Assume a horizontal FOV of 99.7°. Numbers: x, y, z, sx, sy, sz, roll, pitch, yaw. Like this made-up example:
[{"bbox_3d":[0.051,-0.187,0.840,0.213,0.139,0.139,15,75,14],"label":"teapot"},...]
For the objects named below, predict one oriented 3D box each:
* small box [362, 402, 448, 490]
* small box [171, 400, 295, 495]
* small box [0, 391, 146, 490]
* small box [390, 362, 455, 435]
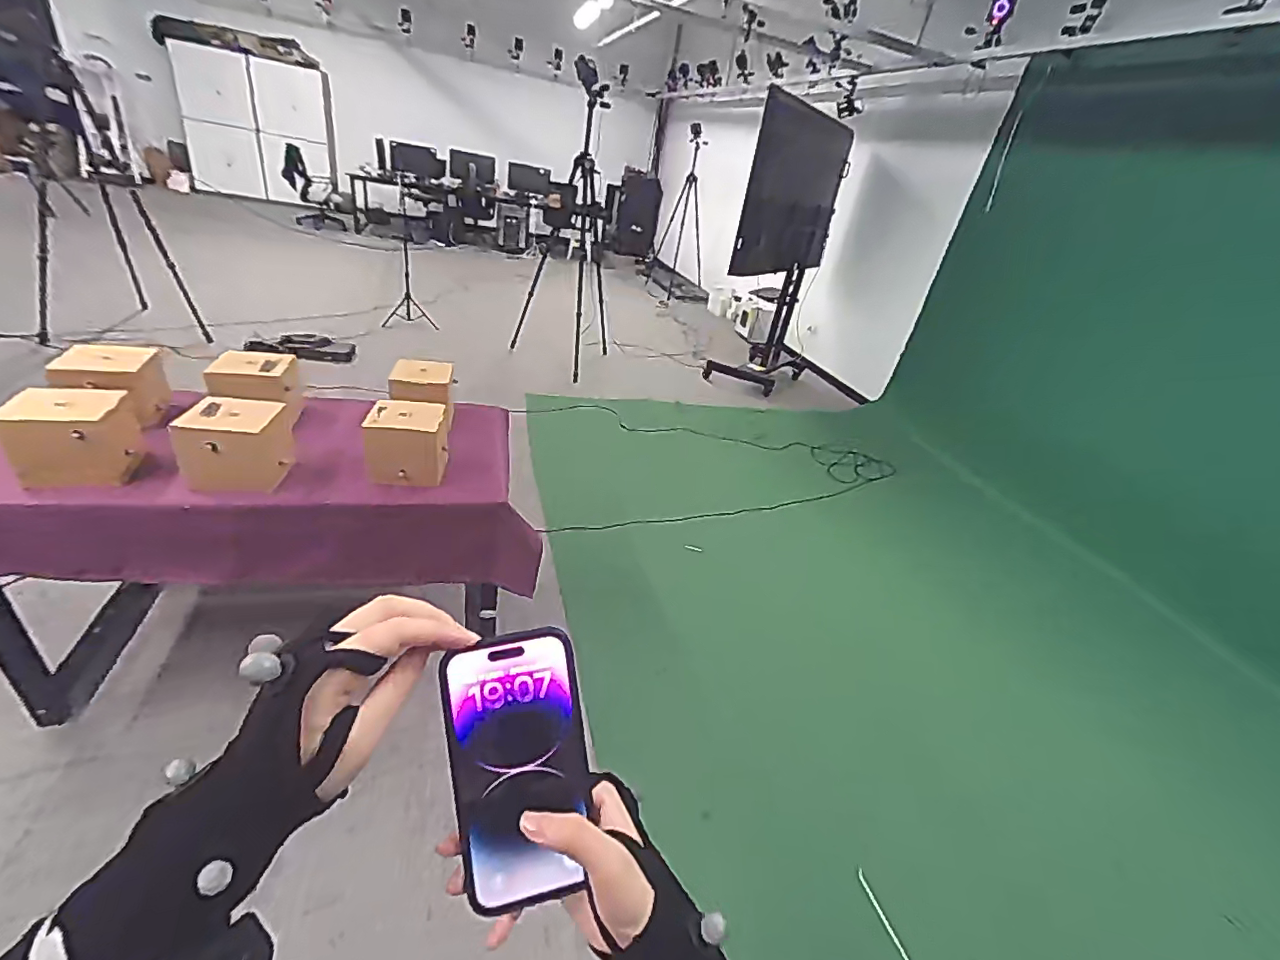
[{"bbox_3d":[-0.611,-0.088,1.428,0.179,0.176,0.168,5,30,-12],"label":"small box"},{"bbox_3d":[-0.955,-0.076,1.288,0.179,0.176,0.168,5,30,-13],"label":"small box"},{"bbox_3d":[-1.257,-0.088,1.205,0.179,0.176,0.168,-1,32,-23],"label":"small box"},{"bbox_3d":[-0.675,-0.253,1.688,0.168,0.176,0.179,2,32,-14],"label":"small box"}]
